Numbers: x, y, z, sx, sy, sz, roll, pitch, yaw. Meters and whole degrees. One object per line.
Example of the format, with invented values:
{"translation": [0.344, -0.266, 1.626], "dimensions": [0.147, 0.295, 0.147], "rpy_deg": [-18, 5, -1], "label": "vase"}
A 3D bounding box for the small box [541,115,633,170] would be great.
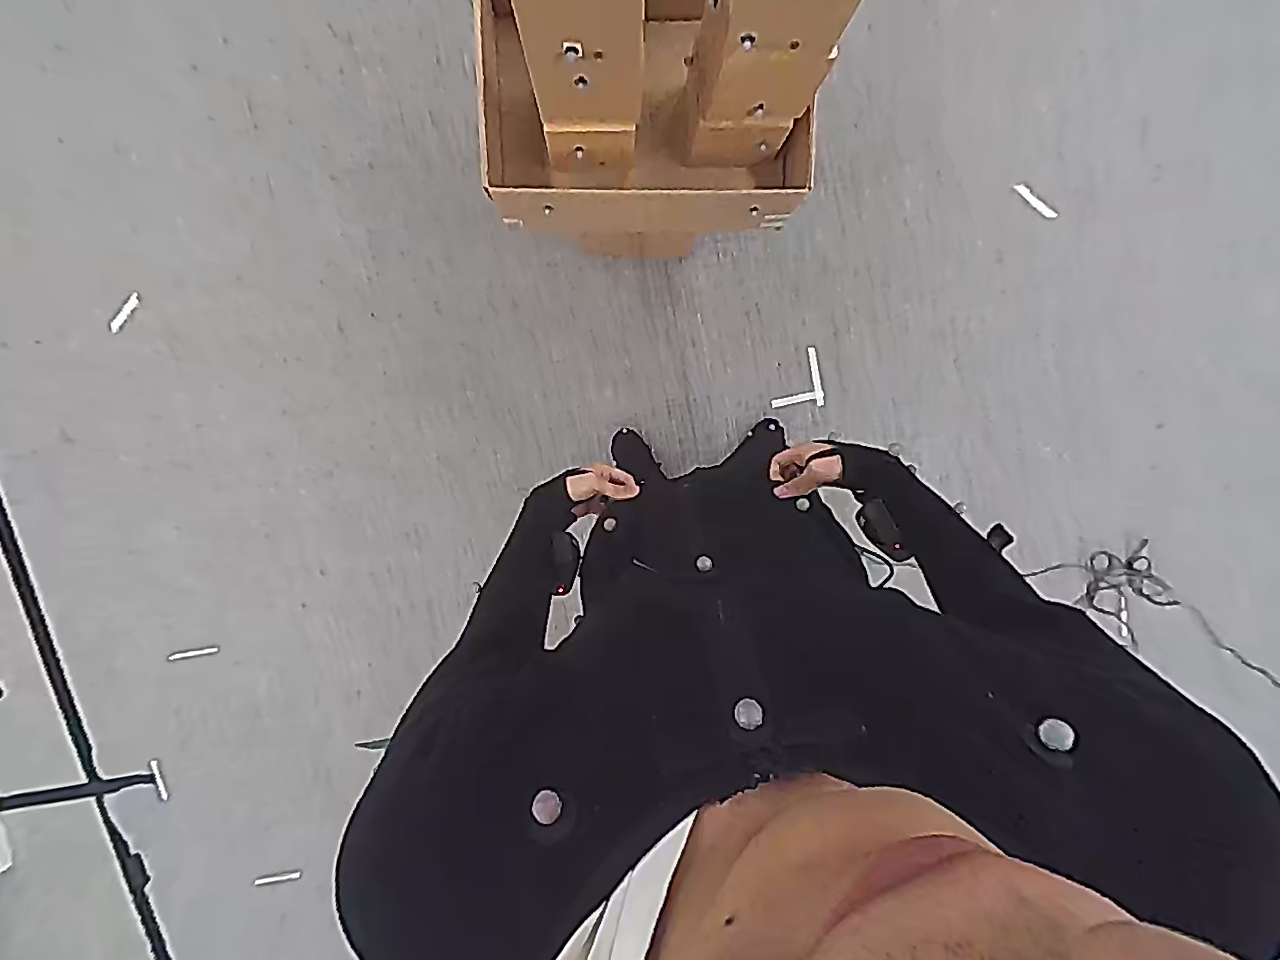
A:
{"translation": [-0.098, -0.709, 1.021], "dimensions": [0.168, 0.176, 0.179], "rpy_deg": [-3, 97, -3], "label": "small box"}

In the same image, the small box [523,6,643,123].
{"translation": [-0.086, -0.697, 0.857], "dimensions": [0.179, 0.176, 0.168], "rpy_deg": [-1, 97, -3], "label": "small box"}

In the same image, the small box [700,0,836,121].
{"translation": [0.197, -0.705, 0.865], "dimensions": [0.179, 0.176, 0.168], "rpy_deg": [-3, 97, -1], "label": "small box"}

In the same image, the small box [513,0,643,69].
{"translation": [-0.084, -0.676, 0.695], "dimensions": [0.168, 0.176, 0.179], "rpy_deg": [-3, 96, -1], "label": "small box"}

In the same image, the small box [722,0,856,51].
{"translation": [0.202, -0.699, 0.698], "dimensions": [0.168, 0.176, 0.179], "rpy_deg": [1, 97, -2], "label": "small box"}
